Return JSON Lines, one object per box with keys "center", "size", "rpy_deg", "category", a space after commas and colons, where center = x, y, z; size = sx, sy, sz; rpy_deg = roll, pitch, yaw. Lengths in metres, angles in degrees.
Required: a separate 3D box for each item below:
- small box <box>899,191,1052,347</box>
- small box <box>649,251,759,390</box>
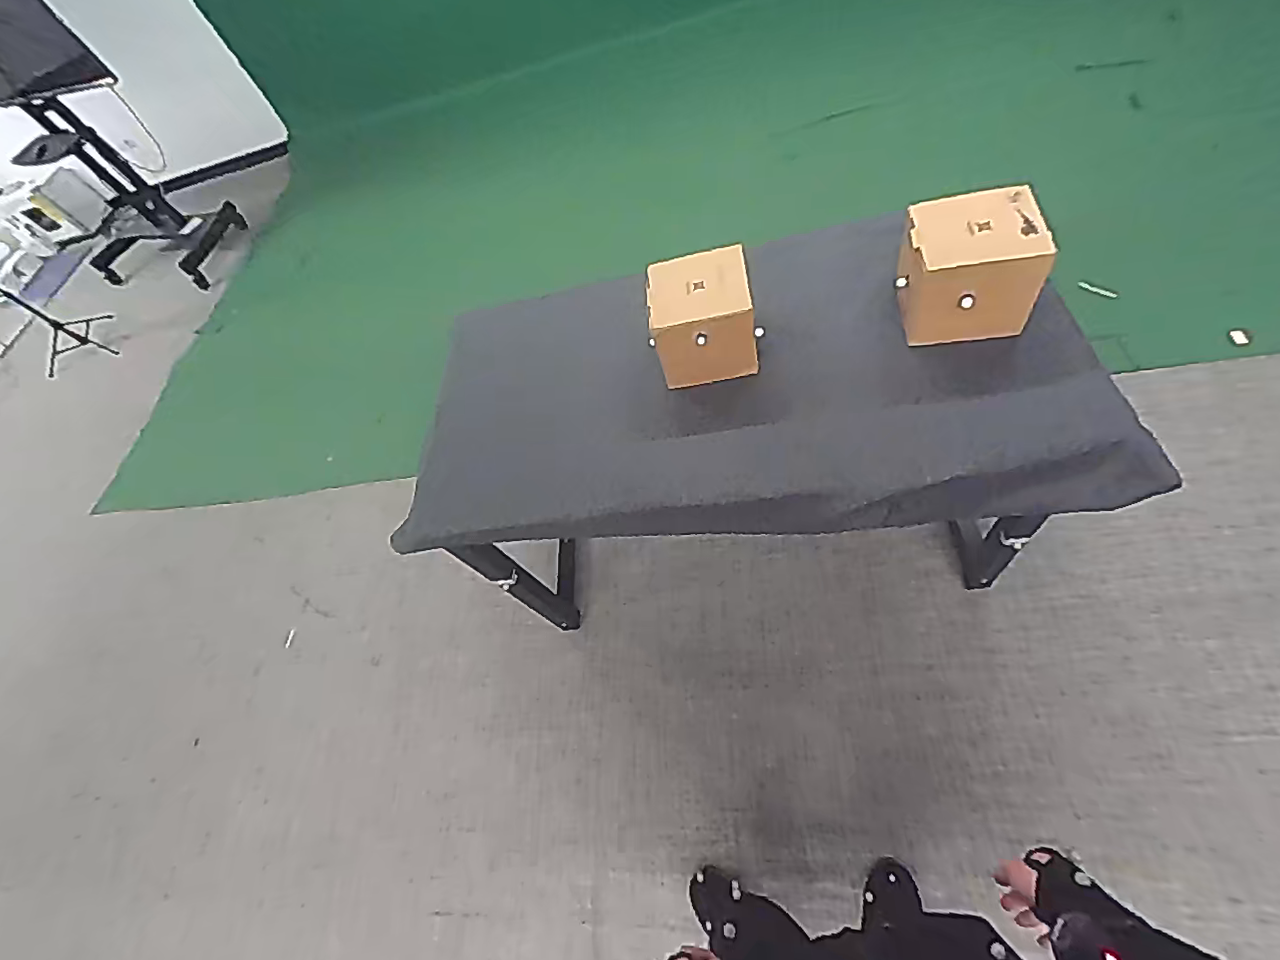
{"center": [0.542, -0.342, 0.906], "size": [0.179, 0.176, 0.168], "rpy_deg": [-4, 60, 16], "category": "small box"}
{"center": [0.121, -0.288, 1.008], "size": [0.179, 0.176, 0.168], "rpy_deg": [-8, 60, 11], "category": "small box"}
